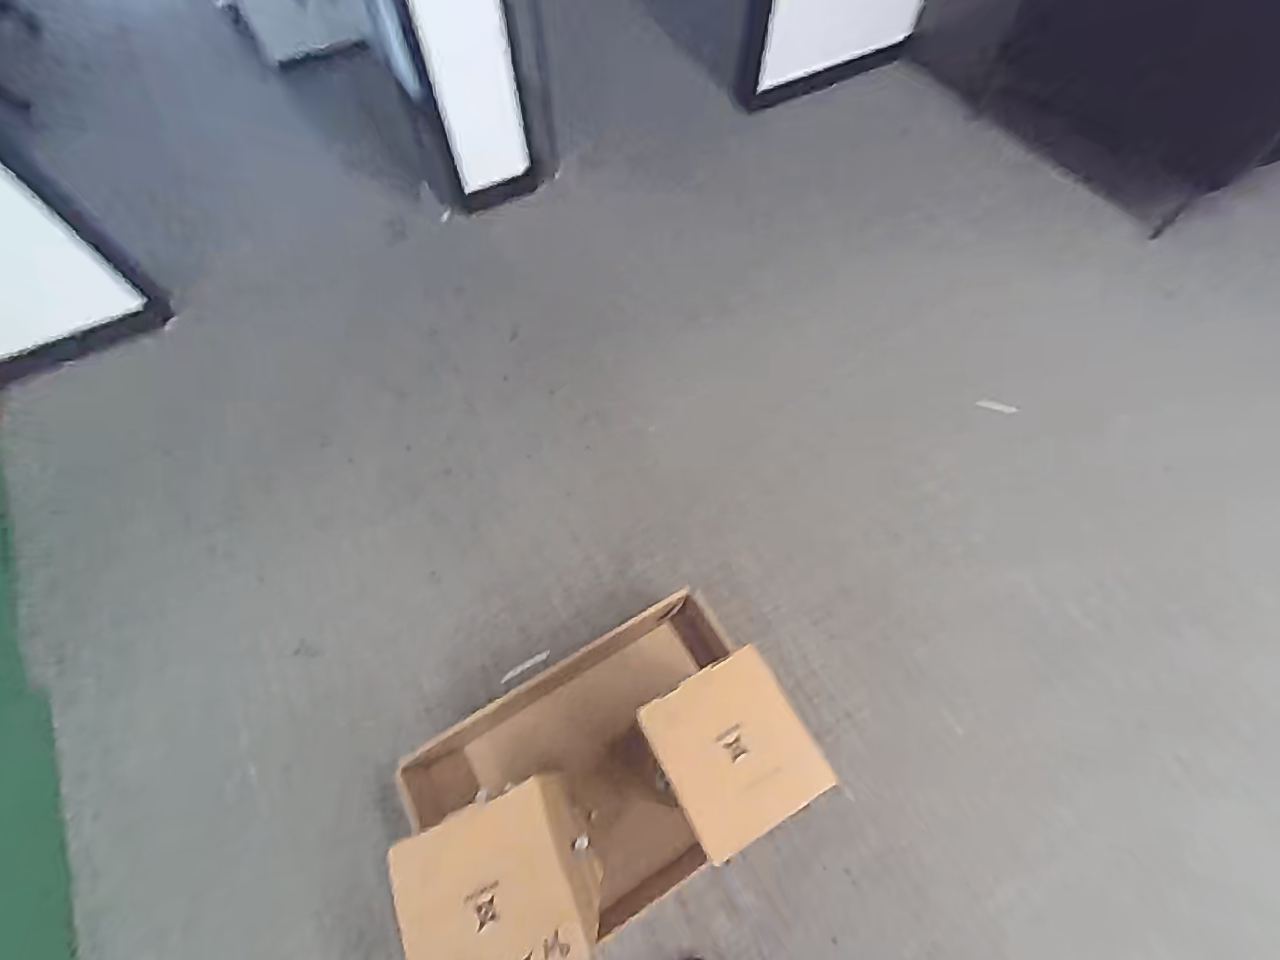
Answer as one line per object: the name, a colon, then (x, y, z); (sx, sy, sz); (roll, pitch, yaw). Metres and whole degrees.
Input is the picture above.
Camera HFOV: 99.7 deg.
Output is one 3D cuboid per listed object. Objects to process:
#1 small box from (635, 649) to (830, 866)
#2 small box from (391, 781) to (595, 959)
small box: (0.103, 0.348, 0.691); (0.168, 0.176, 0.179); (-26, 65, -12)
small box: (-0.159, 0.471, 0.619); (0.168, 0.176, 0.179); (-20, 63, -11)
